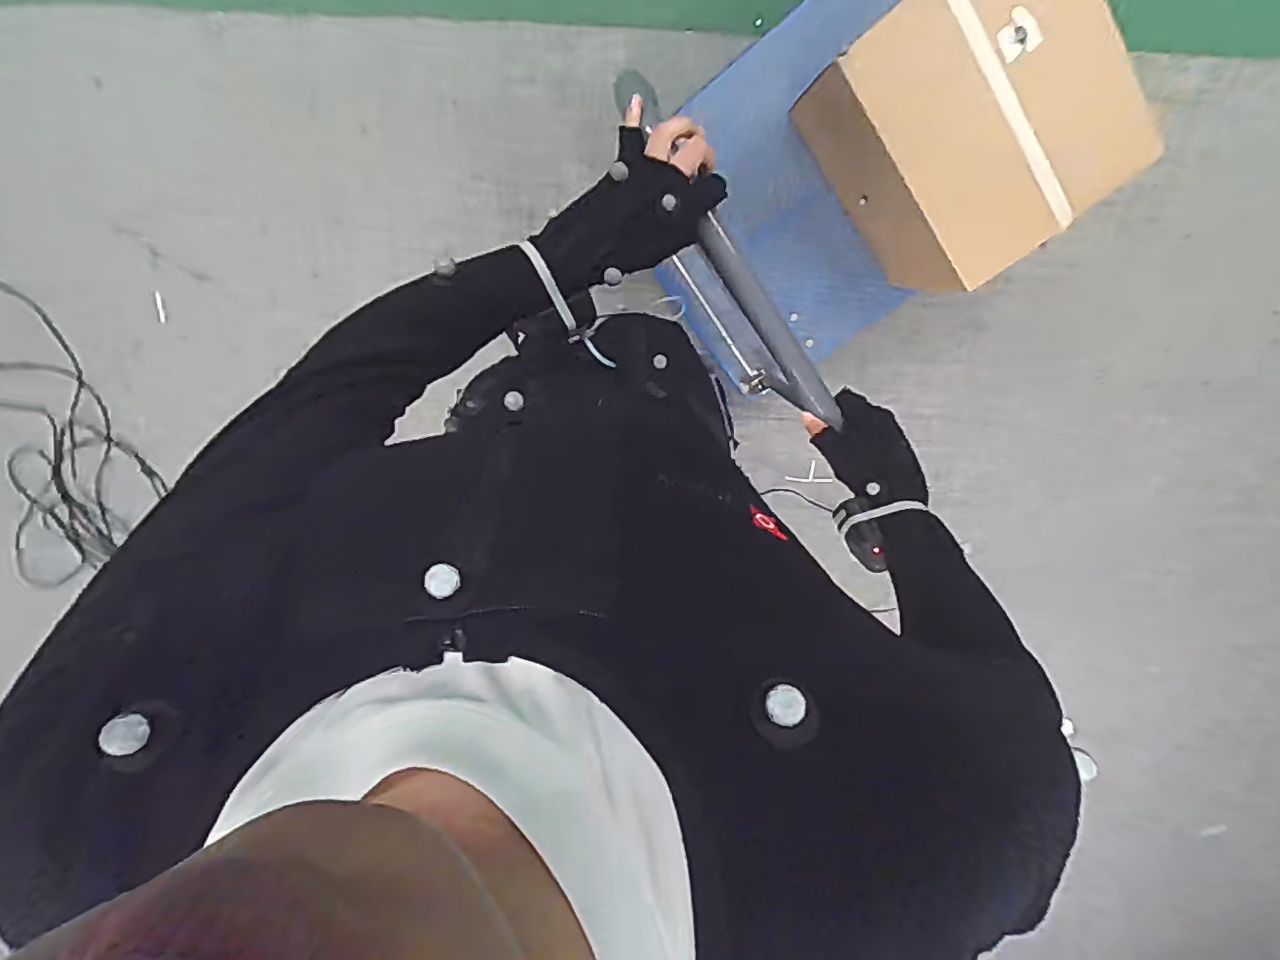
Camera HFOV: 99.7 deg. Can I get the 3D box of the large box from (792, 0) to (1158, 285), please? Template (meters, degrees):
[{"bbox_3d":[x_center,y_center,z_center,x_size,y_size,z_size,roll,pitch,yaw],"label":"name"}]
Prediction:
[{"bbox_3d":[0.524,-0.596,0.919,0.320,0.320,0.408,-37,105,14],"label":"large box"}]
